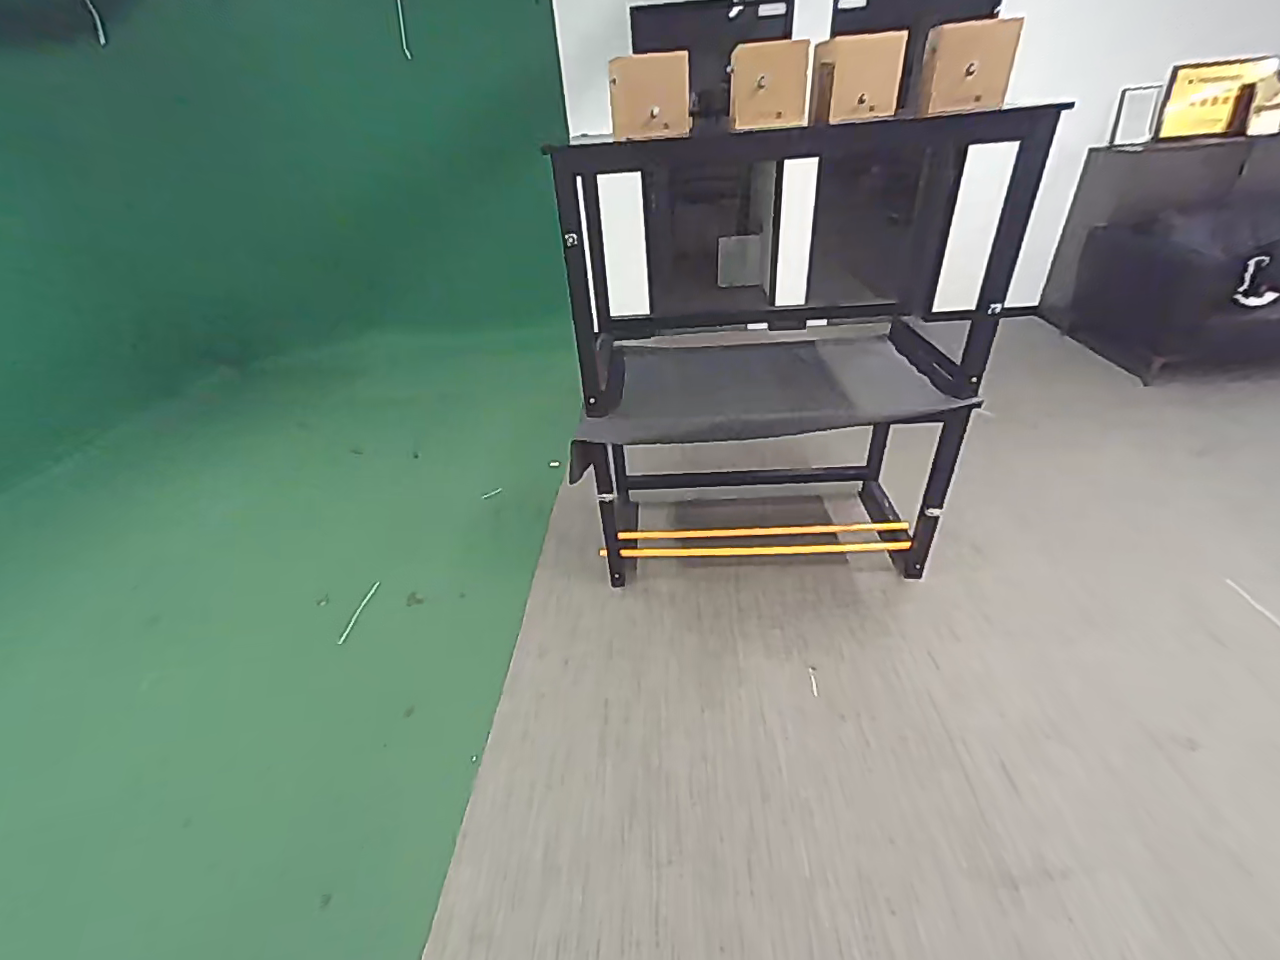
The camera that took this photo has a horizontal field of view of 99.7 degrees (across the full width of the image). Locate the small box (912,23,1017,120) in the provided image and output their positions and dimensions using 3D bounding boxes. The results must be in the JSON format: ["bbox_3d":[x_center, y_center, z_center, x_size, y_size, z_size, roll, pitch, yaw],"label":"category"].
[{"bbox_3d":[0.779,-0.987,1.319,0.168,0.176,0.179,4,35,13],"label":"small box"}]

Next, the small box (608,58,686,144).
[{"bbox_3d":[0.016,-0.966,1.386,0.168,0.176,0.179,-11,35,-9],"label":"small box"}]
